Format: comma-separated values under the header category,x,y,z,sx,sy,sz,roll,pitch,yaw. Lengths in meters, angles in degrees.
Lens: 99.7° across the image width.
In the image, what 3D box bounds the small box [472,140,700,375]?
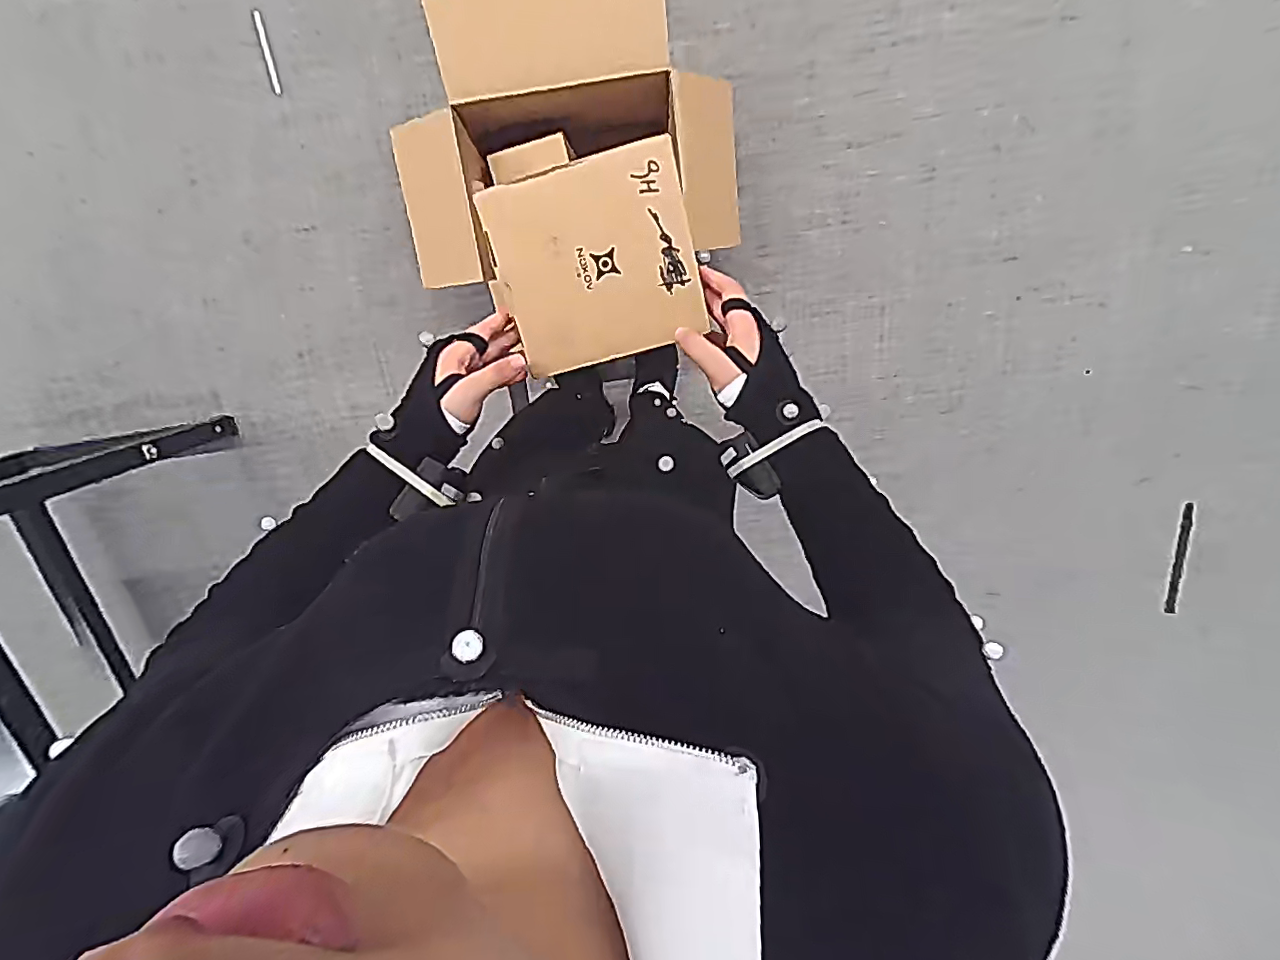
category,x,y,z,sx,sy,sz,roll,pitch,yaw
small box,-0.041,-0.217,0.559,0.179,0.176,0.168,-13,109,7
